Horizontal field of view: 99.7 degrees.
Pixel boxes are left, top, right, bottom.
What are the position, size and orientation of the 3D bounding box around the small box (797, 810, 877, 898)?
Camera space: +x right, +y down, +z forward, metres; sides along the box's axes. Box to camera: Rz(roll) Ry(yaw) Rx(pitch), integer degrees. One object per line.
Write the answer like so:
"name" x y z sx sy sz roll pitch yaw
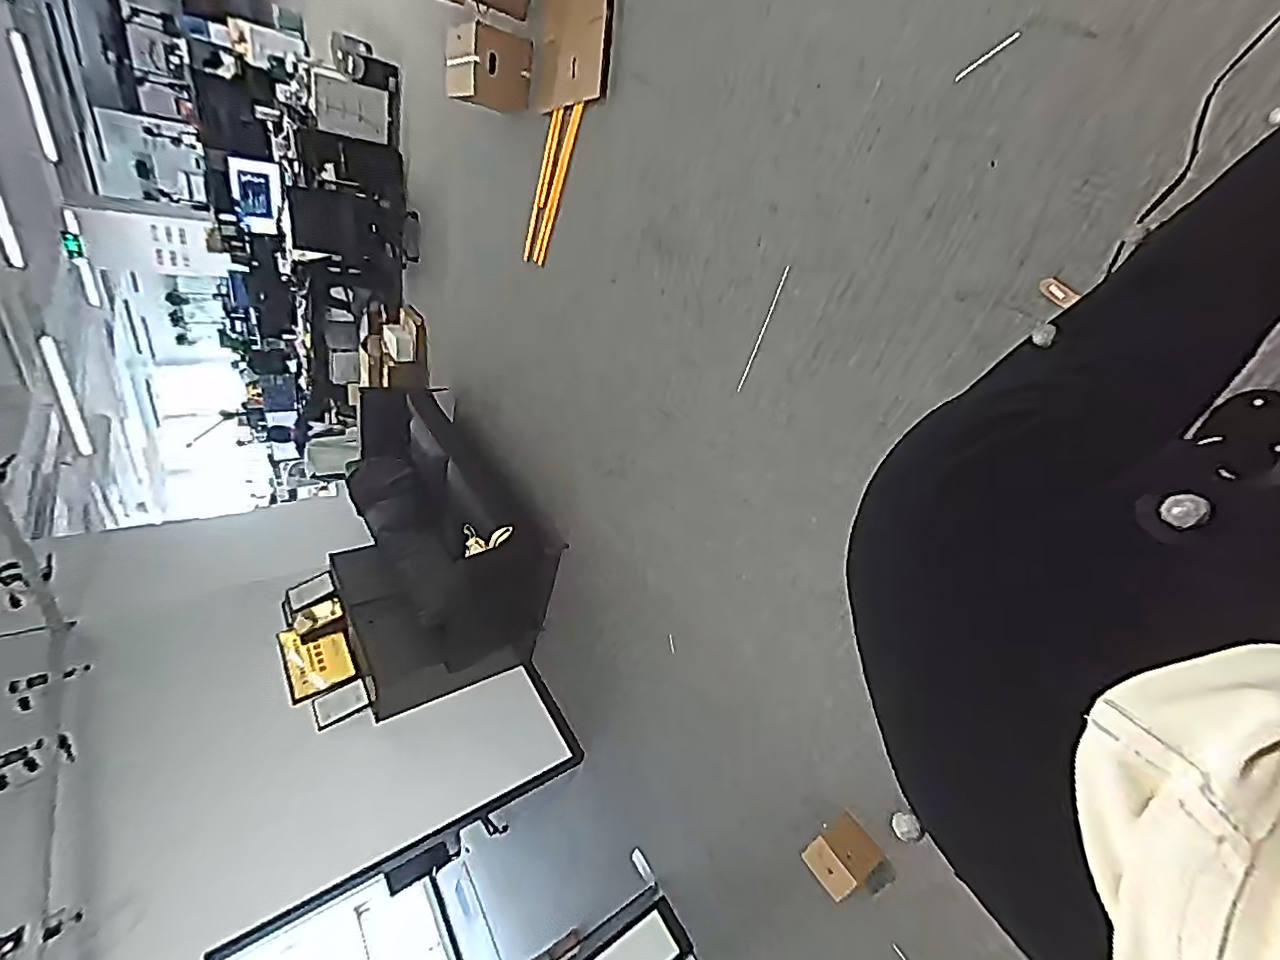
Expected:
"small box" 0.712 1.340 1.945 0.179 0.176 0.168 46 132 36
